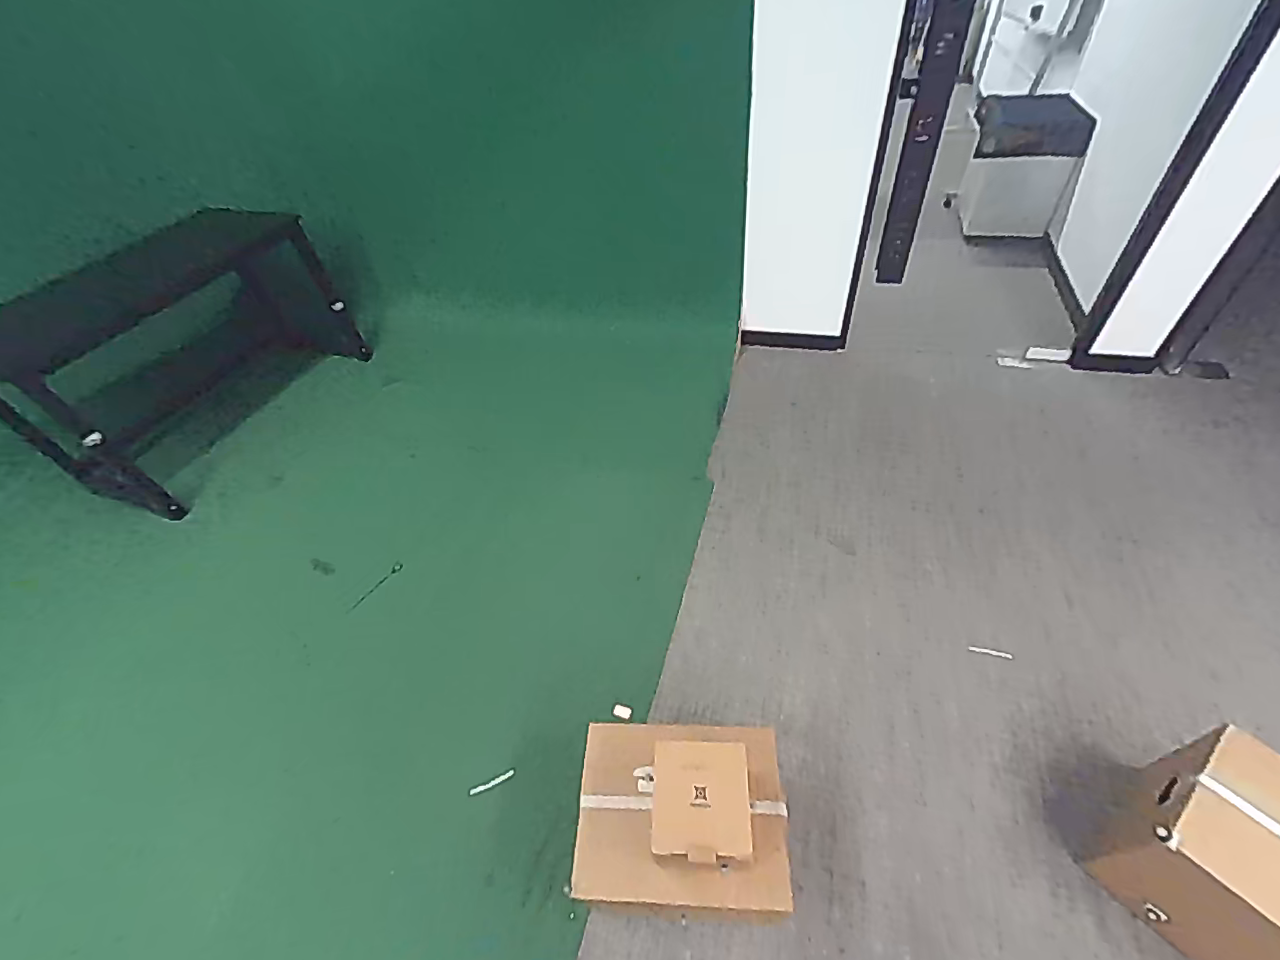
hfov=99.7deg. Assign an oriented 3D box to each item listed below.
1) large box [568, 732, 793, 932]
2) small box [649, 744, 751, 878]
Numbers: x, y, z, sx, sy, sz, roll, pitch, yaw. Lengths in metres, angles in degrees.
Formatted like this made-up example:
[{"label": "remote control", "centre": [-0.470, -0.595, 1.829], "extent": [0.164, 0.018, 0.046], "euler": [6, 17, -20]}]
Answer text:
[{"label": "large box", "centre": [0.092, 0.756, 1.159], "extent": [0.408, 0.320, 0.320], "euler": [-3, 45, 7]}, {"label": "small box", "centre": [0.109, 0.595, 0.969], "extent": [0.168, 0.176, 0.179], "euler": [-1, 47, 6]}]
